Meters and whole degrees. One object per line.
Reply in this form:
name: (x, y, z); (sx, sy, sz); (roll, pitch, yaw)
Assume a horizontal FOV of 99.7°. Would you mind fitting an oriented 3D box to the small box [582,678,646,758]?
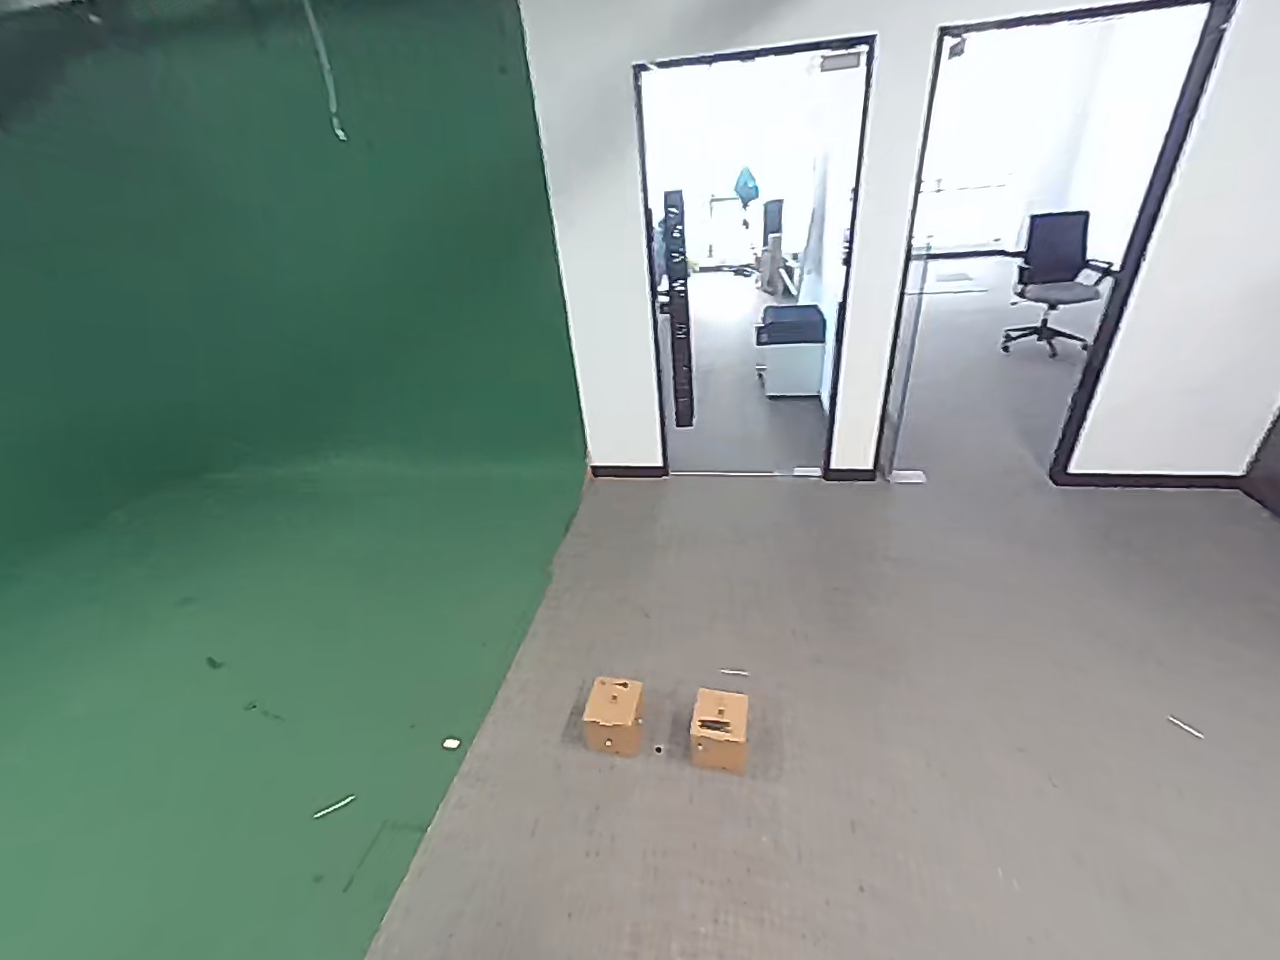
small box: (-0.080, 0.798, 1.809); (0.168, 0.176, 0.179); (2, 31, 14)
